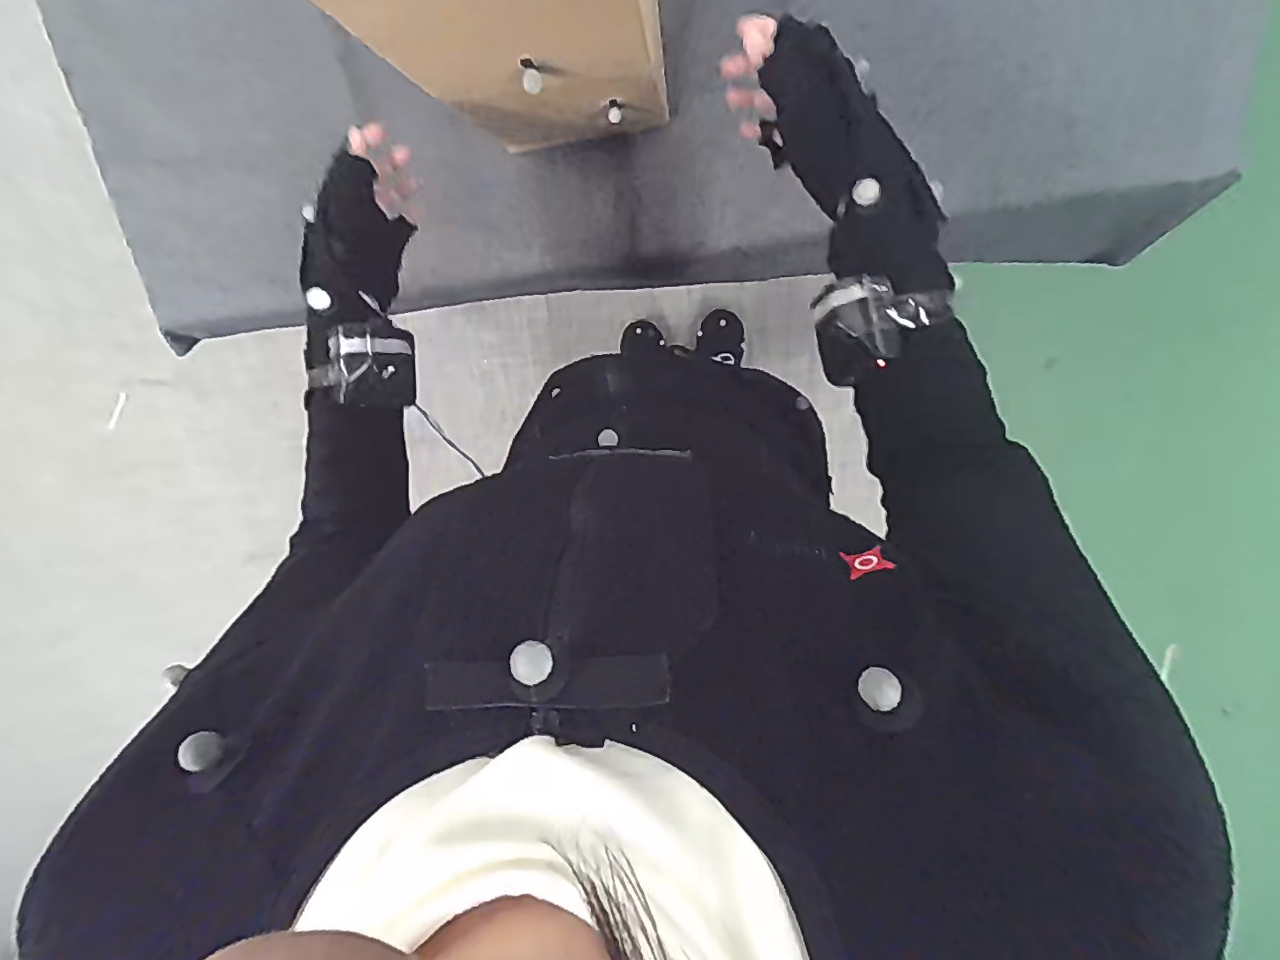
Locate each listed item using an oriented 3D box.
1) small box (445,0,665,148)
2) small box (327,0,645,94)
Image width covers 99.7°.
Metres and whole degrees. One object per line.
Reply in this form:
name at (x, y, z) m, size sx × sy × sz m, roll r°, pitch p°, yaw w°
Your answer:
small box at (-0.074, -0.421, 0.482) m, size 0.179 × 0.176 × 0.168 m, roll -5°, pitch 107°, yaw 10°
small box at (-0.091, -0.367, 0.328) m, size 0.179 × 0.176 × 0.168 m, roll -4°, pitch 107°, yaw 8°
